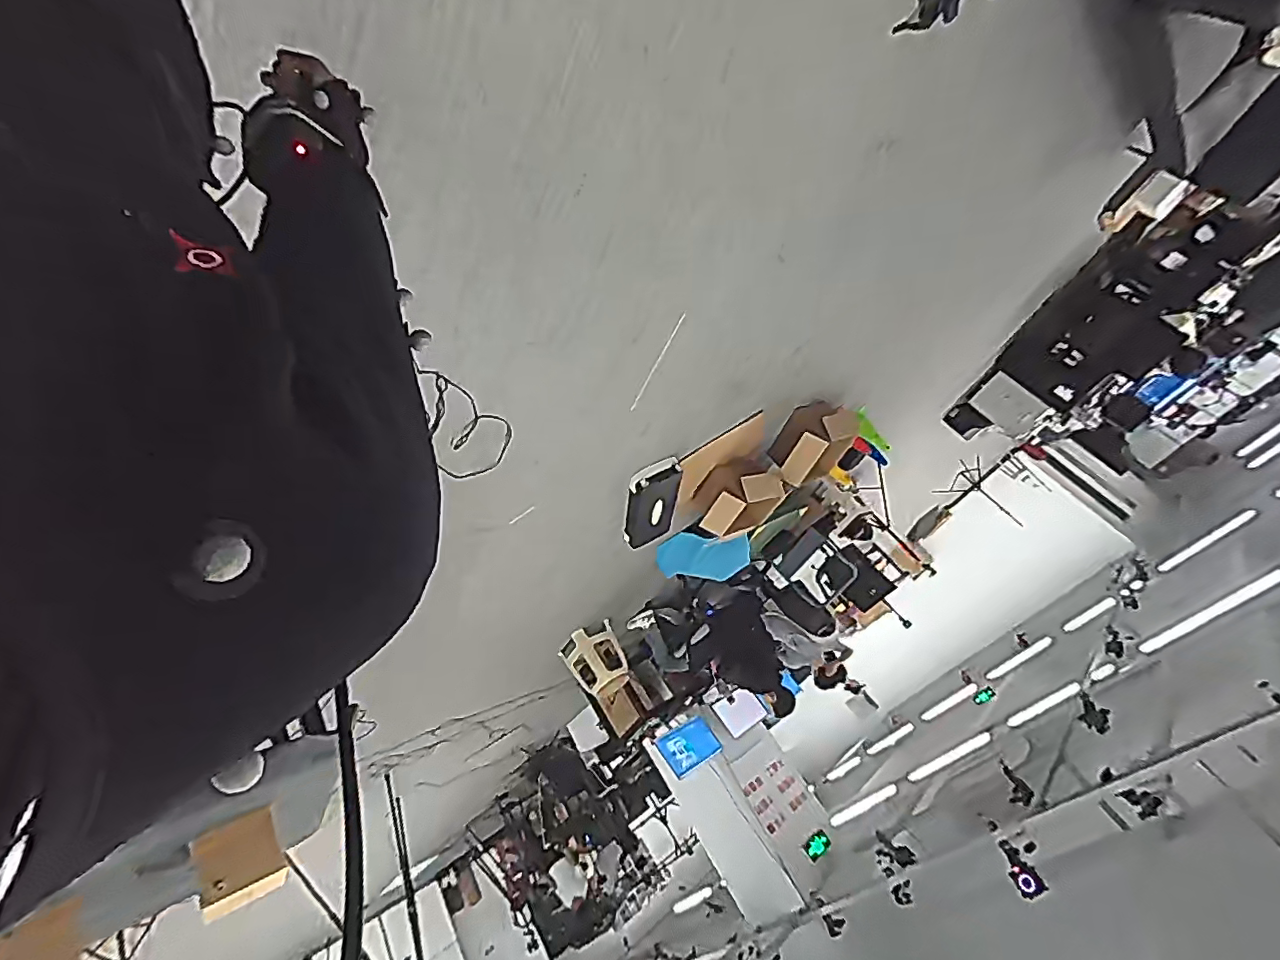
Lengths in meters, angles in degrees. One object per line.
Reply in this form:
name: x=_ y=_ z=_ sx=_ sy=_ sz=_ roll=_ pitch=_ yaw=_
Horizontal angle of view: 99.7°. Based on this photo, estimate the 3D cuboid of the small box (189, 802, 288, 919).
small box: x=-1.033 y=0.970 z=1.391 sx=0.179 sy=0.176 sz=0.168 roll=-8 pitch=142 yaw=-43

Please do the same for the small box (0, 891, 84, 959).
small box: x=-1.304 y=1.021 z=1.148 sx=0.168 sy=0.176 sz=0.179 roll=-3 pitch=138 yaw=-46
